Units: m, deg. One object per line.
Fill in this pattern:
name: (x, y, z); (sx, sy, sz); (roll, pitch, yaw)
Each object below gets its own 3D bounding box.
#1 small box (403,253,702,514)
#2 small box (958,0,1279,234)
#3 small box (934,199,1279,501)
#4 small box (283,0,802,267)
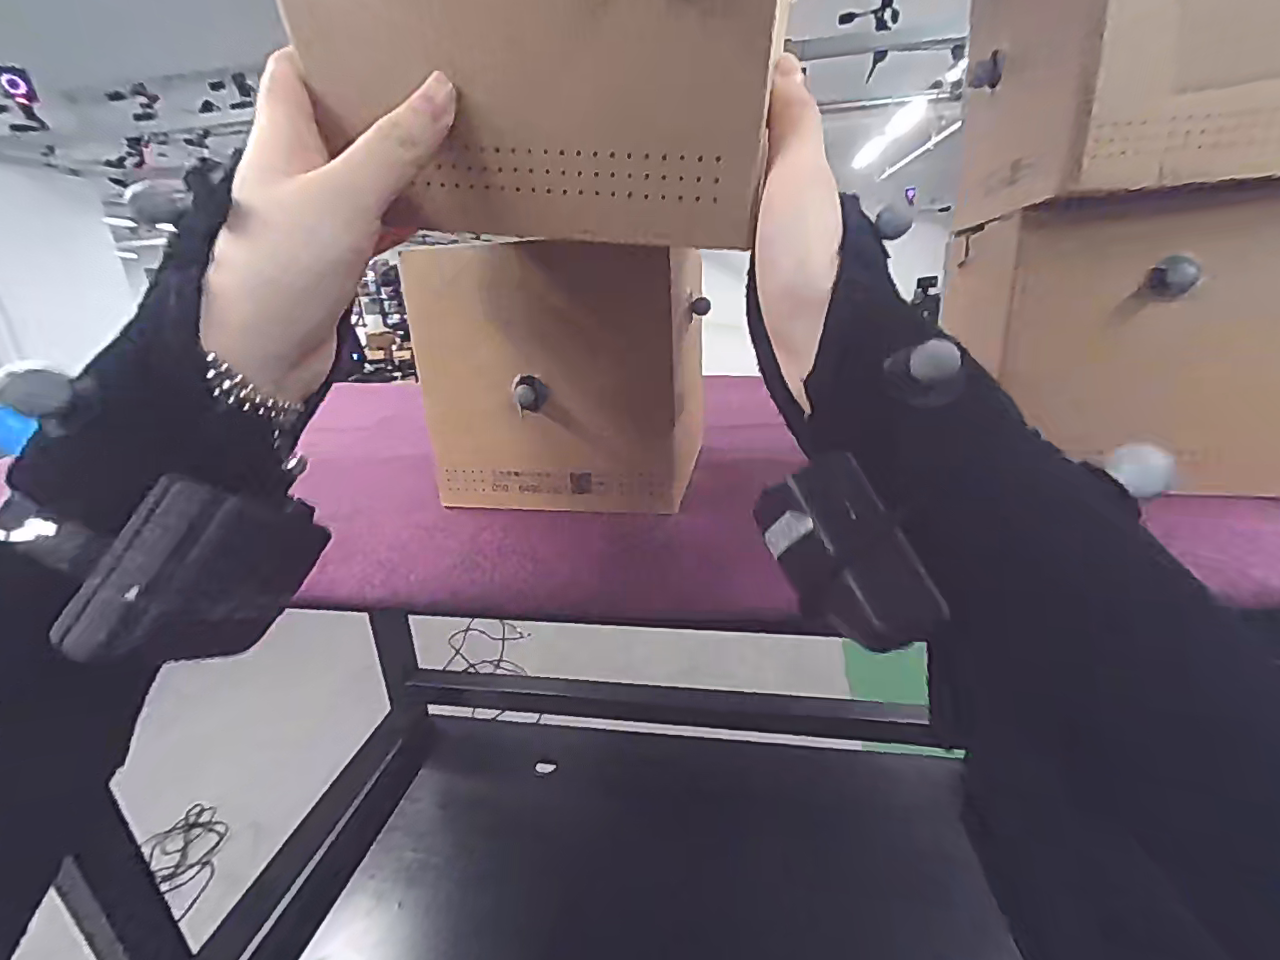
small box: (-0.043, -0.082, 0.409); (0.168, 0.176, 0.179); (2, 20, 11)
small box: (0.305, -0.239, 0.312); (0.179, 0.176, 0.168); (1, 18, 11)
small box: (0.319, -0.089, 0.376); (0.179, 0.176, 0.168); (2, 19, 15)
small box: (-0.021, -0.200, 0.228); (0.179, 0.176, 0.168); (7, 39, 10)
